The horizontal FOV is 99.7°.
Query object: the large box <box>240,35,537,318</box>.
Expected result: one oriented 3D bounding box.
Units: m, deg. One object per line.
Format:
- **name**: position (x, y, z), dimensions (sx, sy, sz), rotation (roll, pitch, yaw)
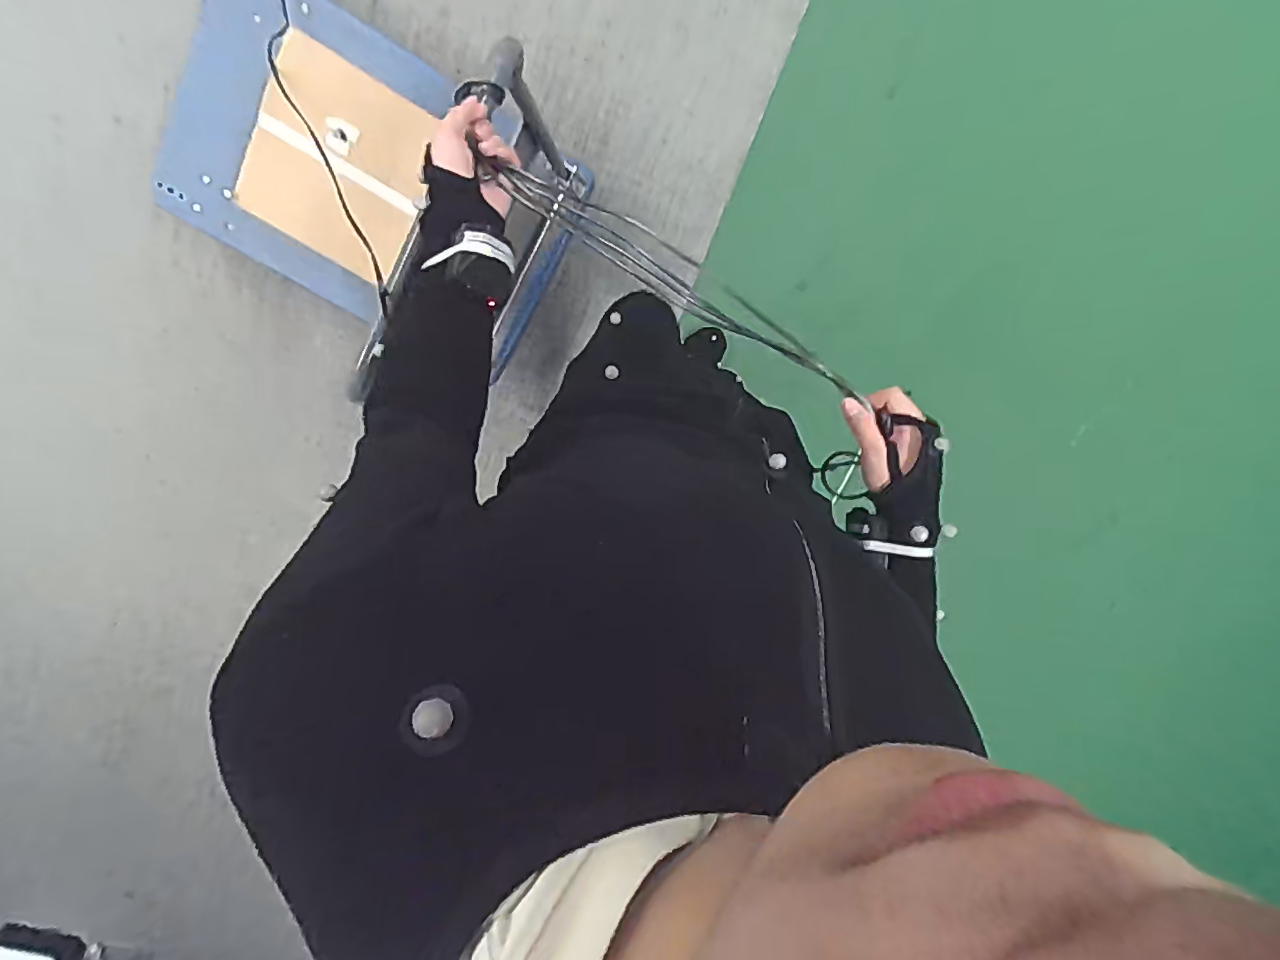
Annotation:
- **large box**: position (-0.476, -0.567, 1.105), dimensions (0.408, 0.320, 0.320), rotation (29, 104, -9)
